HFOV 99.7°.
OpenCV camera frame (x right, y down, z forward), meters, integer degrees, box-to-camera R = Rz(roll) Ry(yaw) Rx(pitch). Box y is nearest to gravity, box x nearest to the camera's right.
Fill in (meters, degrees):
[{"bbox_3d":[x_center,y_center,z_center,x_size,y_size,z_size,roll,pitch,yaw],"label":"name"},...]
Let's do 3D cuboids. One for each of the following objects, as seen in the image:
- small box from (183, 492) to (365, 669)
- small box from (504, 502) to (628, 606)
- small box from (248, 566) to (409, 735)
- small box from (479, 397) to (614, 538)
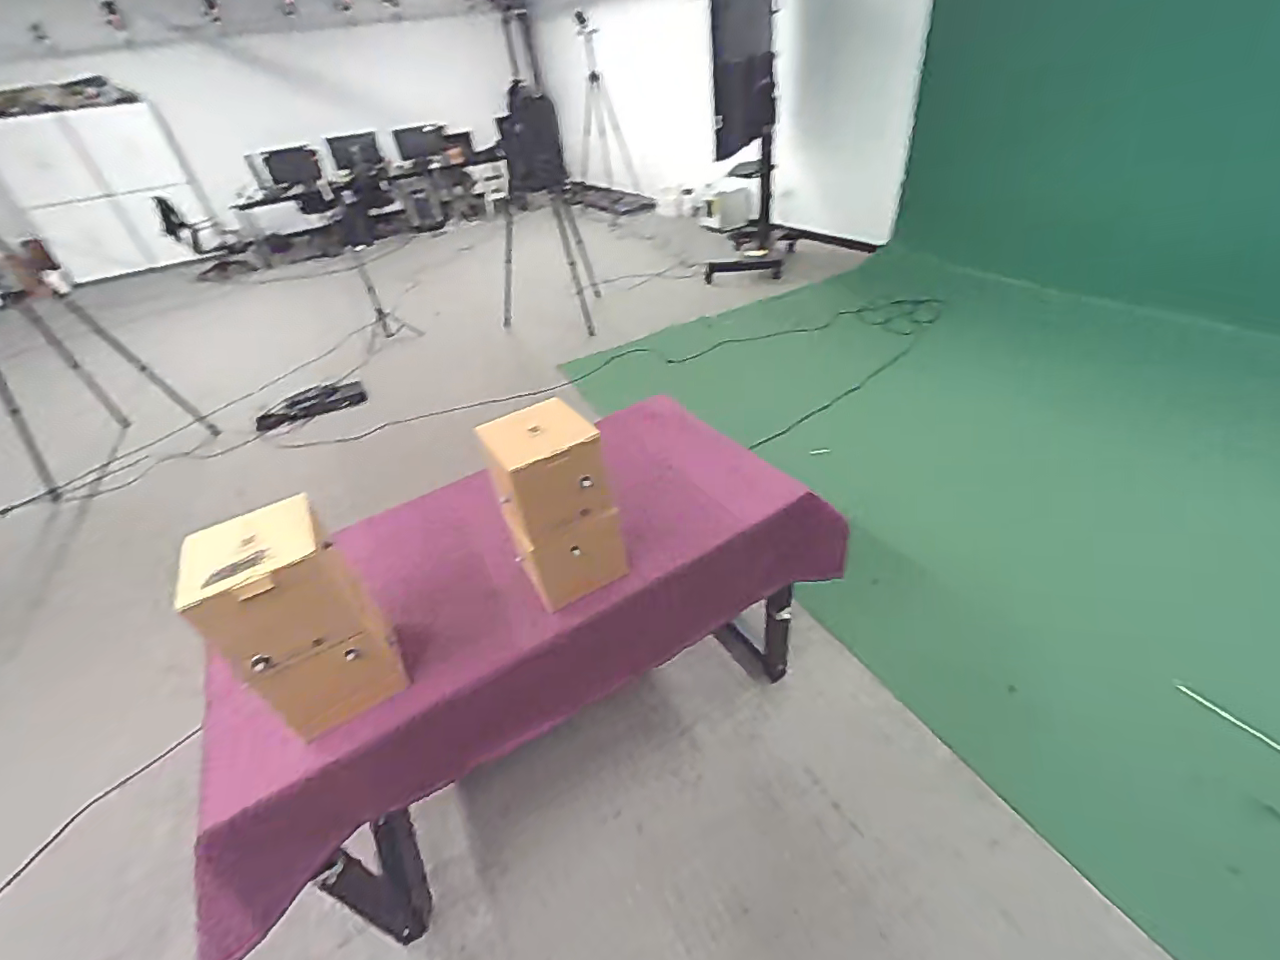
[{"bbox_3d":[-0.535,0.153,0.809,0.168,0.176,0.179,-24,39,-22],"label":"small box"},{"bbox_3d":[-0.140,0.113,1.057,0.179,0.176,0.168,-24,41,-19],"label":"small box"},{"bbox_3d":[-0.517,0.284,0.905,0.179,0.176,0.168,-24,40,-22],"label":"small box"},{"bbox_3d":[-0.161,-0.019,0.962,0.168,0.176,0.179,-25,40,-22],"label":"small box"}]
